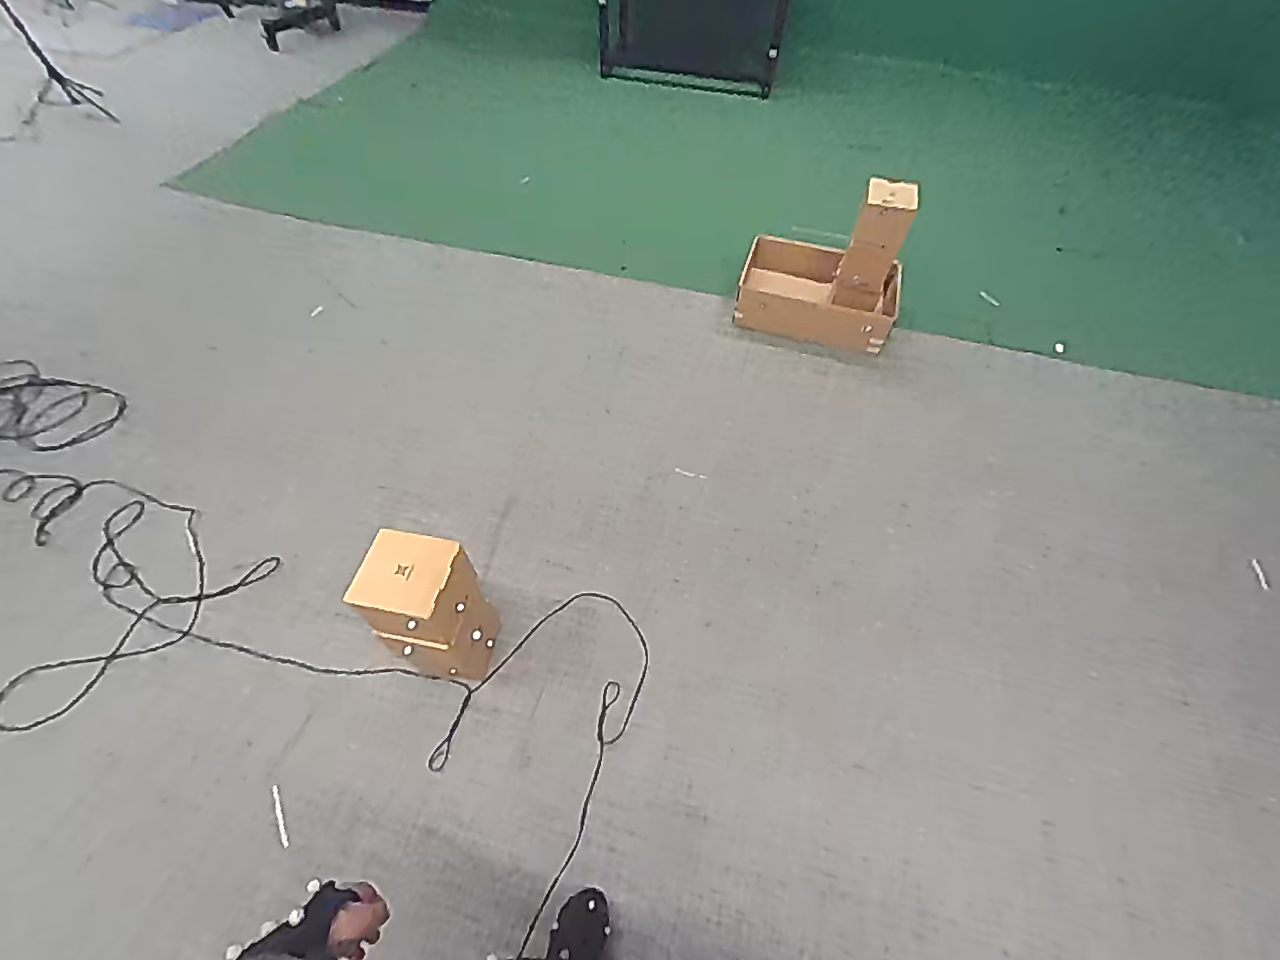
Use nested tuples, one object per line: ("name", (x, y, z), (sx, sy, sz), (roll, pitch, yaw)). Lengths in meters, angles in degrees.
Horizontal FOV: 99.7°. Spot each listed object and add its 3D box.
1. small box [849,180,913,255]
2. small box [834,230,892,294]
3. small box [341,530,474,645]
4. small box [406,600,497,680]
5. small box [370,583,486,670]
("small box", (0.861, -0.940, 1.937), (0.168, 0.176, 0.179), (13, 55, 9))
("small box", (0.858, -0.847, 2.072), (0.168, 0.176, 0.179), (16, 57, 11))
("small box", (-0.470, 0.228, 1.125), (0.179, 0.176, 0.168), (10, 55, 4))
("small box", (-0.484, 0.407, 1.397), (0.179, 0.176, 0.168), (6, 54, 4))
("small box", (-0.480, 0.327, 1.254), (0.179, 0.176, 0.168), (10, 55, 5))
